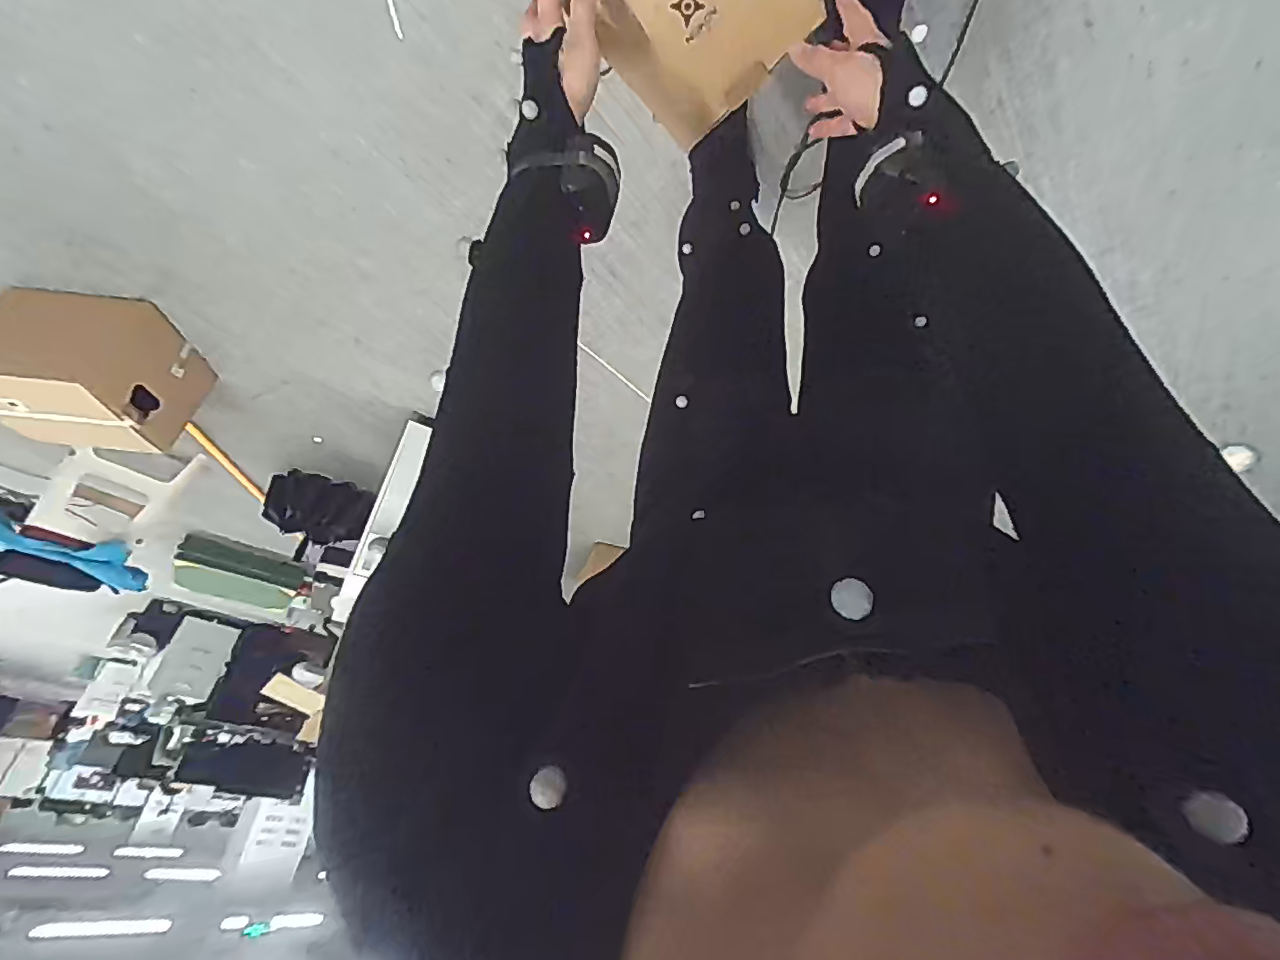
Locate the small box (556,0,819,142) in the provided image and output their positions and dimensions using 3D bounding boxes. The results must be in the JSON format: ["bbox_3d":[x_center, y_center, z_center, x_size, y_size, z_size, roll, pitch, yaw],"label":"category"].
[{"bbox_3d":[0.045,-0.485,0.515,0.179,0.176,0.168,29,141,-33],"label":"small box"}]
